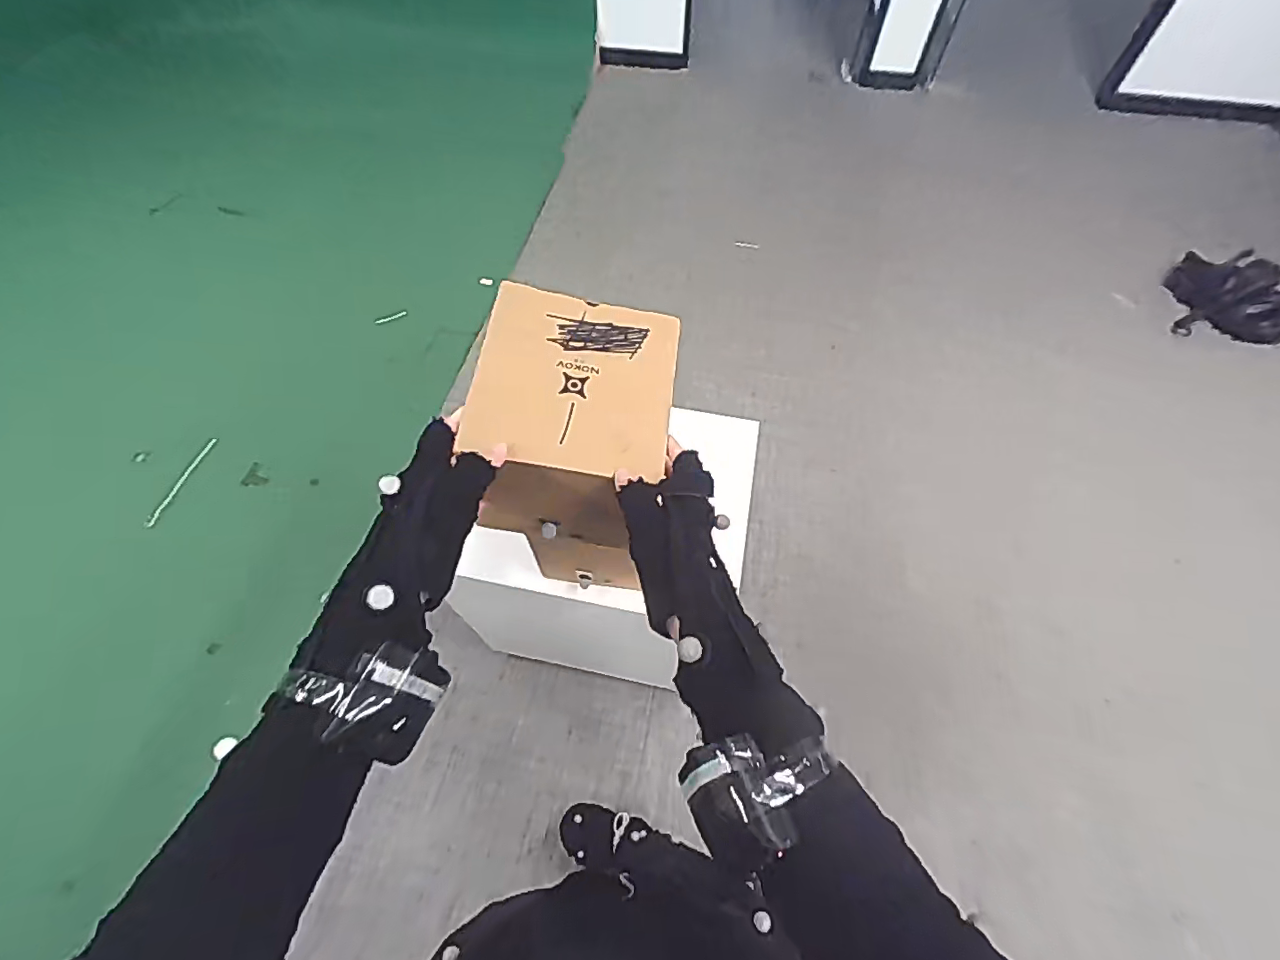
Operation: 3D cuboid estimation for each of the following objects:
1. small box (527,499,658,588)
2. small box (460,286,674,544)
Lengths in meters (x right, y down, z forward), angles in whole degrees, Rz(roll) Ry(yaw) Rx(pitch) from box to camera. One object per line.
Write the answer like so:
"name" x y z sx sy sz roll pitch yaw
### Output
"small box" -0.061 0.044 0.803 0.168 0.176 0.179 5 61 5
"small box" -0.065 -0.054 0.526 0.168 0.176 0.179 6 63 -6
